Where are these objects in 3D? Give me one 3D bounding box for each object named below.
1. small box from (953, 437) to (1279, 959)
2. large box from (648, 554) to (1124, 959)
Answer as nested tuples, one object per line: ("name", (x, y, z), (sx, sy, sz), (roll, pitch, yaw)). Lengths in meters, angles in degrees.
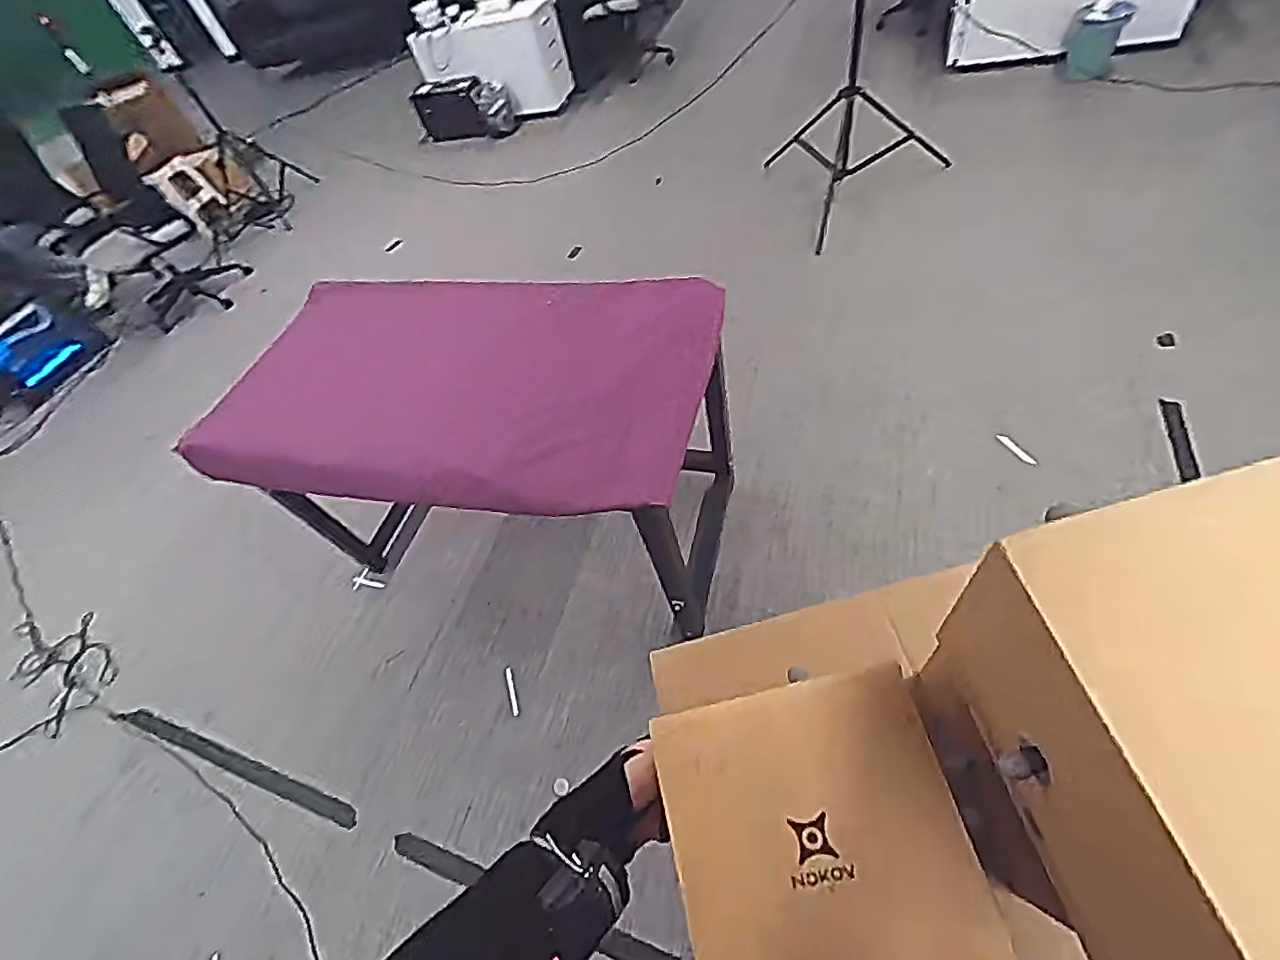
("small box", (0.253, 0.094, 0.217), (0.179, 0.176, 0.168), (-18, 58, 10))
("large box", (0.270, 0.317, 0.580), (0.408, 0.320, 0.320), (-21, 55, 9))
